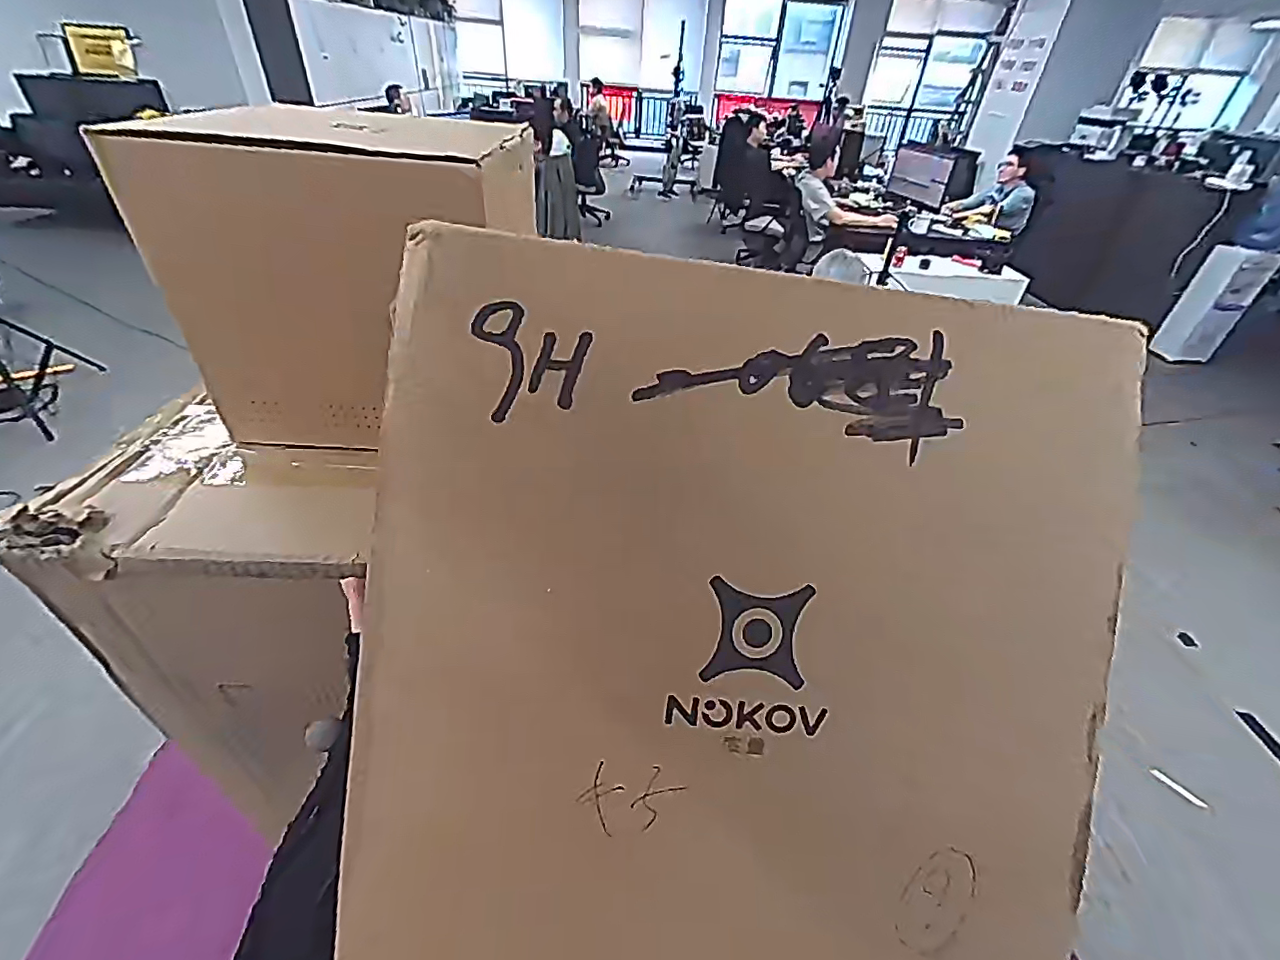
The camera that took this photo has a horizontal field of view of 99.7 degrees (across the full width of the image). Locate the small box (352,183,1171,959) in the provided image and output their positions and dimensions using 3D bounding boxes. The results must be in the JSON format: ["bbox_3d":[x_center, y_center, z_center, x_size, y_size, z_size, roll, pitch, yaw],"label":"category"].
[{"bbox_3d":[0.022,0.029,0.199,0.168,0.179,0.176,7,2,-4],"label":"small box"}]

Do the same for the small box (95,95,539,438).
[{"bbox_3d":[-0.159,-0.137,0.351,0.179,0.176,0.168,1,37,-3],"label":"small box"}]
